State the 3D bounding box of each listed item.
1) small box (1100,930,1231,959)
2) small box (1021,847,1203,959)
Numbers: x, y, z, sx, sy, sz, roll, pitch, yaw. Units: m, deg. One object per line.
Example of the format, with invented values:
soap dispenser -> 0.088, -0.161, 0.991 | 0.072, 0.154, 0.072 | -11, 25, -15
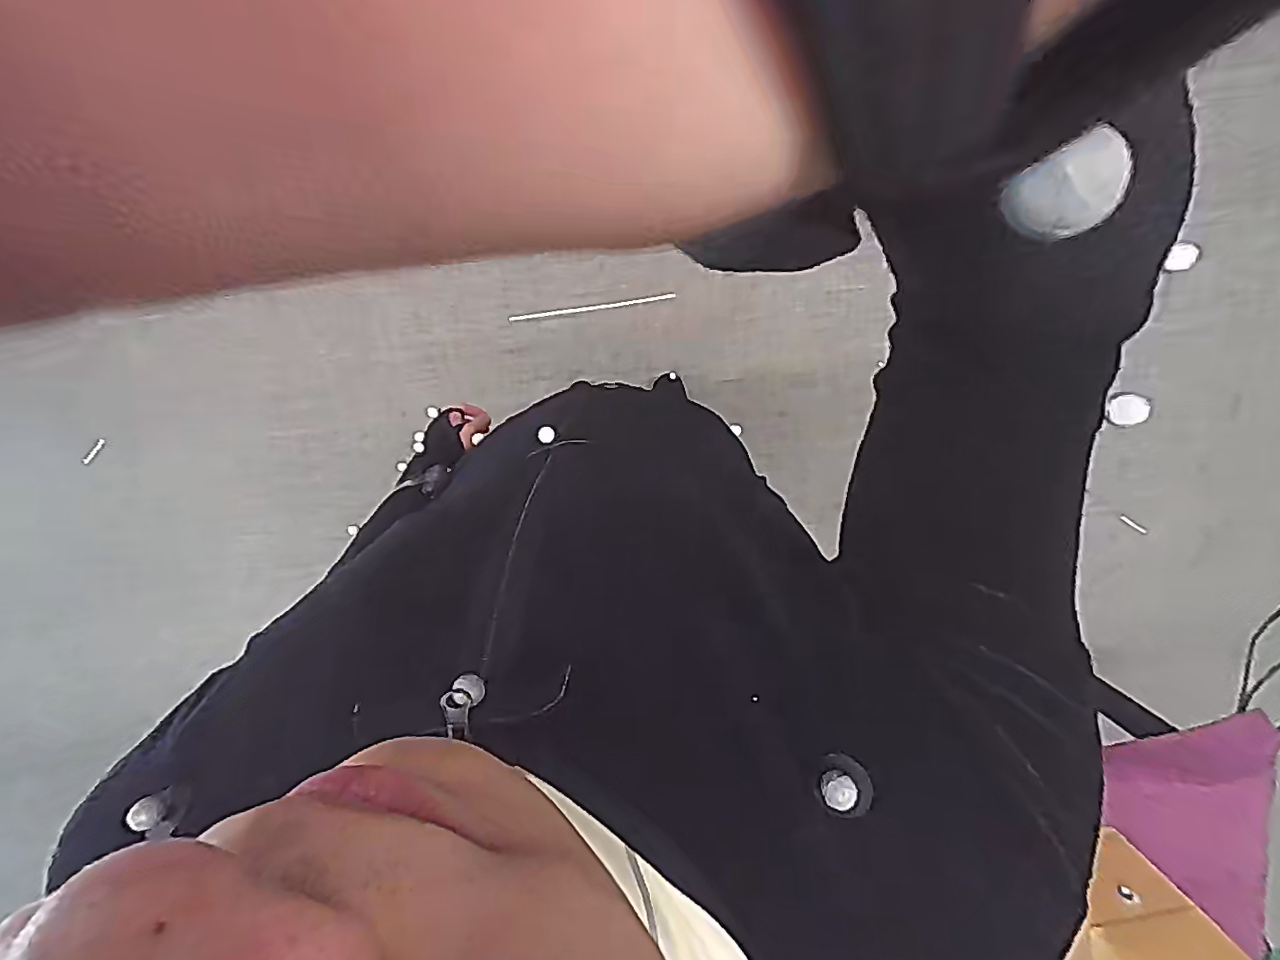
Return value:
small box -> 0.807, 0.806, 0.780 | 0.179, 0.176, 0.168 | -12, 98, 1
small box -> 0.811, 0.781, 0.940 | 0.179, 0.176, 0.168 | -12, 98, 2
